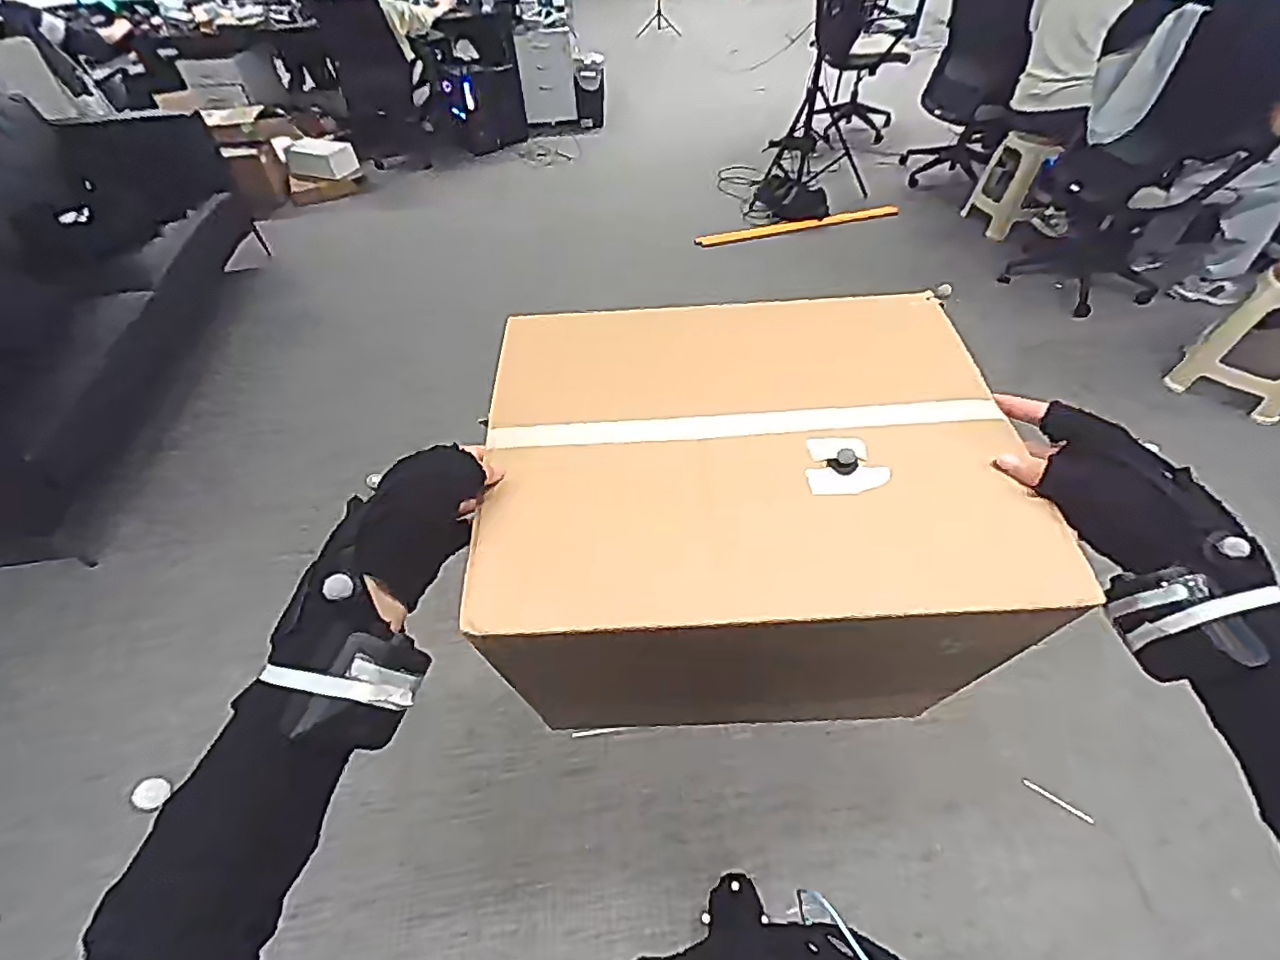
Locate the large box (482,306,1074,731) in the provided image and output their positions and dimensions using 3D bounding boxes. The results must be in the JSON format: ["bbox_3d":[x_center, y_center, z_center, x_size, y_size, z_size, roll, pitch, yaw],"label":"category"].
[{"bbox_3d":[0.089,0.054,0.563,0.408,0.320,0.320,-4,55,1],"label":"large box"}]
